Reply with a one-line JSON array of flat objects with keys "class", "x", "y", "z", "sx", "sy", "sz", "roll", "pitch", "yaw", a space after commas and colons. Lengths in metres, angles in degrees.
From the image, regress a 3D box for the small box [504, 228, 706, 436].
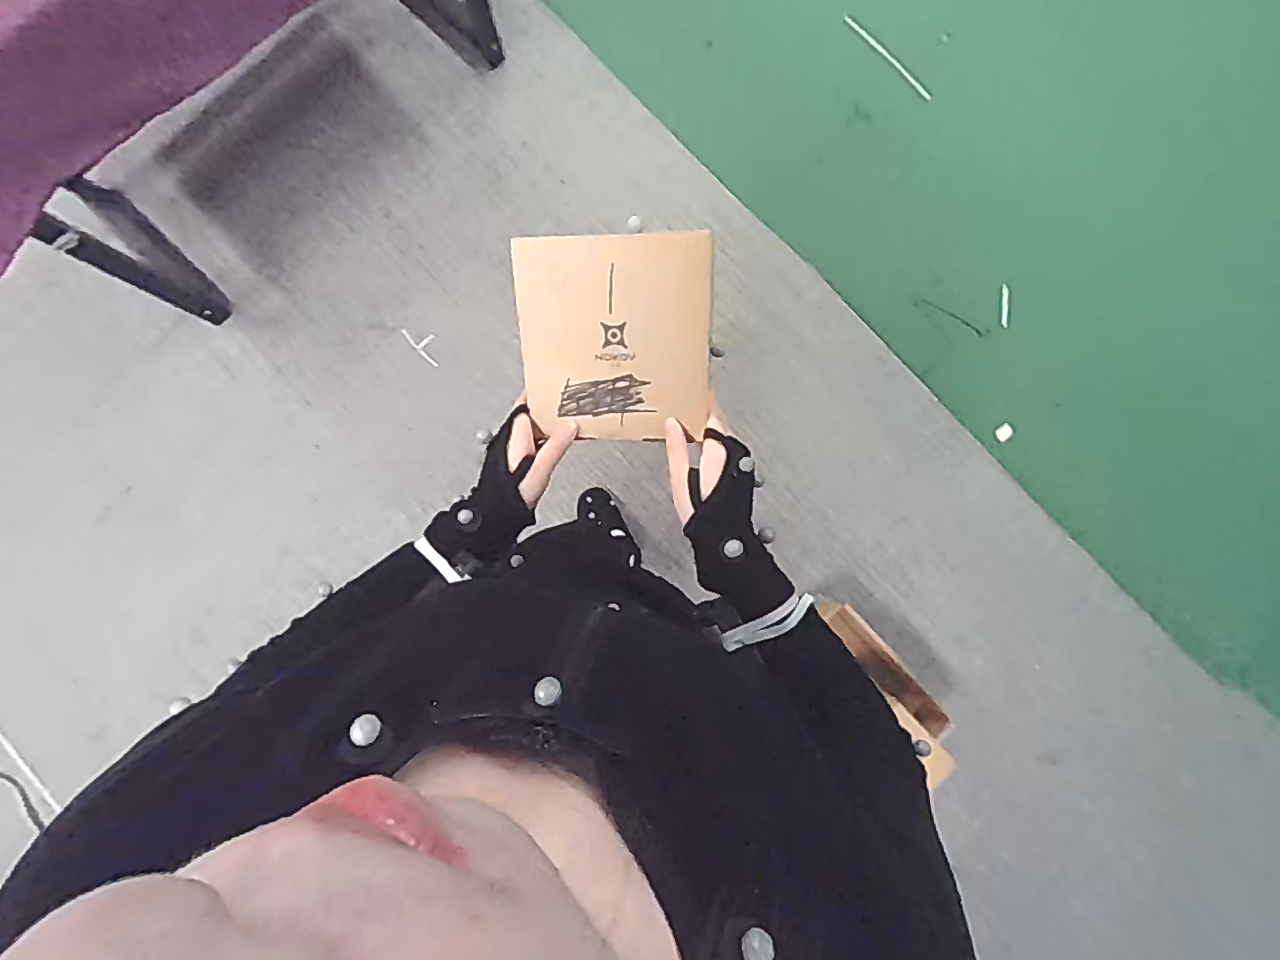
[{"class": "small box", "x": -0.020, "y": -0.153, "z": 0.541, "sx": 0.168, "sy": 0.176, "sz": 0.179, "roll": 1, "pitch": 113, "yaw": 7}]
